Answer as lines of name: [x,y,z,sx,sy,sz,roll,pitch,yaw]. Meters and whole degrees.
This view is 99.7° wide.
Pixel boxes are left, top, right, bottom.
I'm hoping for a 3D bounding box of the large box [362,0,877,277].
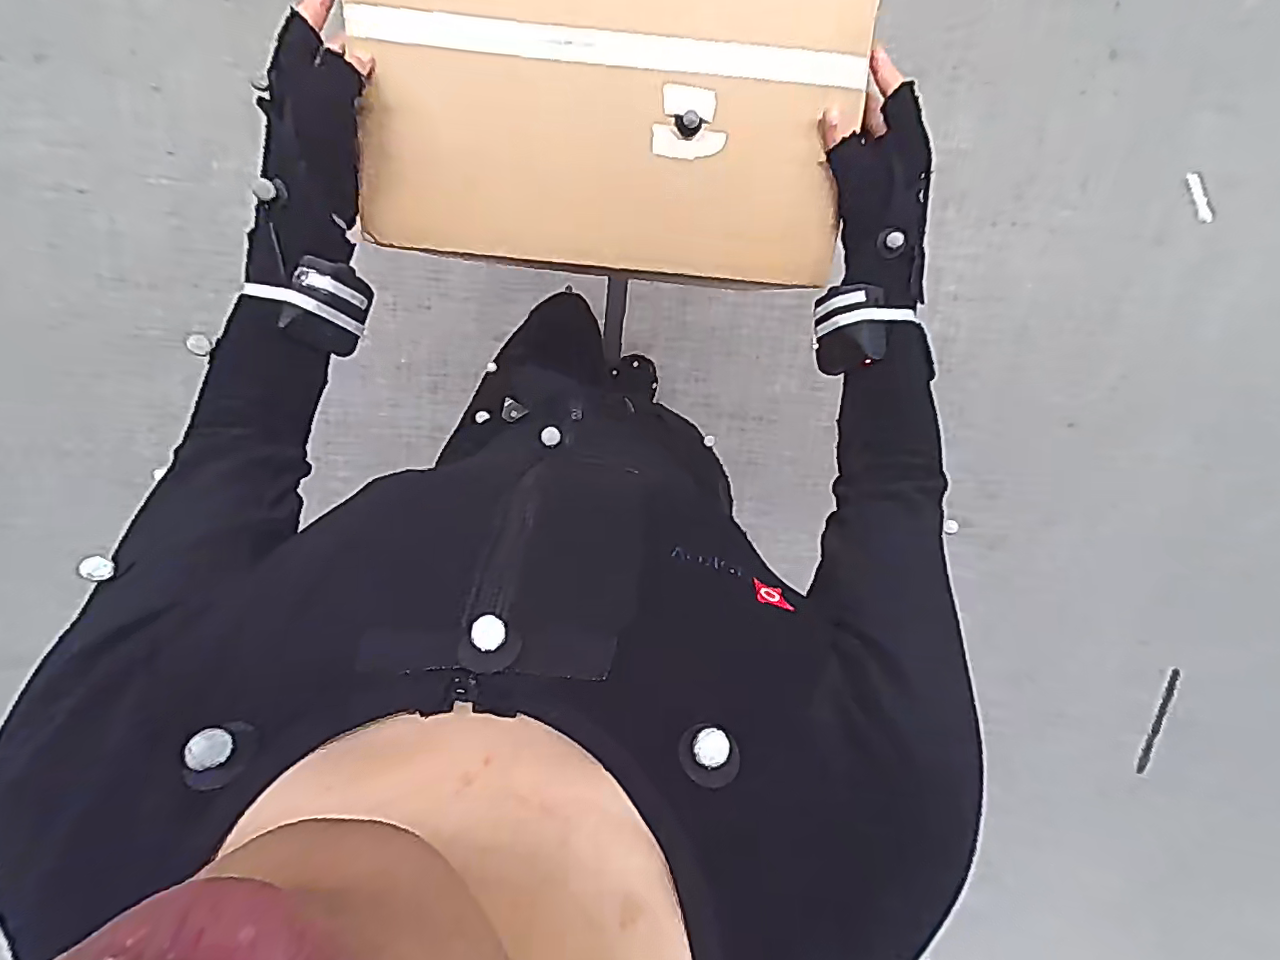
large box: [-0.021,-0.394,0.564,0.408,0.320,0.320,5,110,-2]
